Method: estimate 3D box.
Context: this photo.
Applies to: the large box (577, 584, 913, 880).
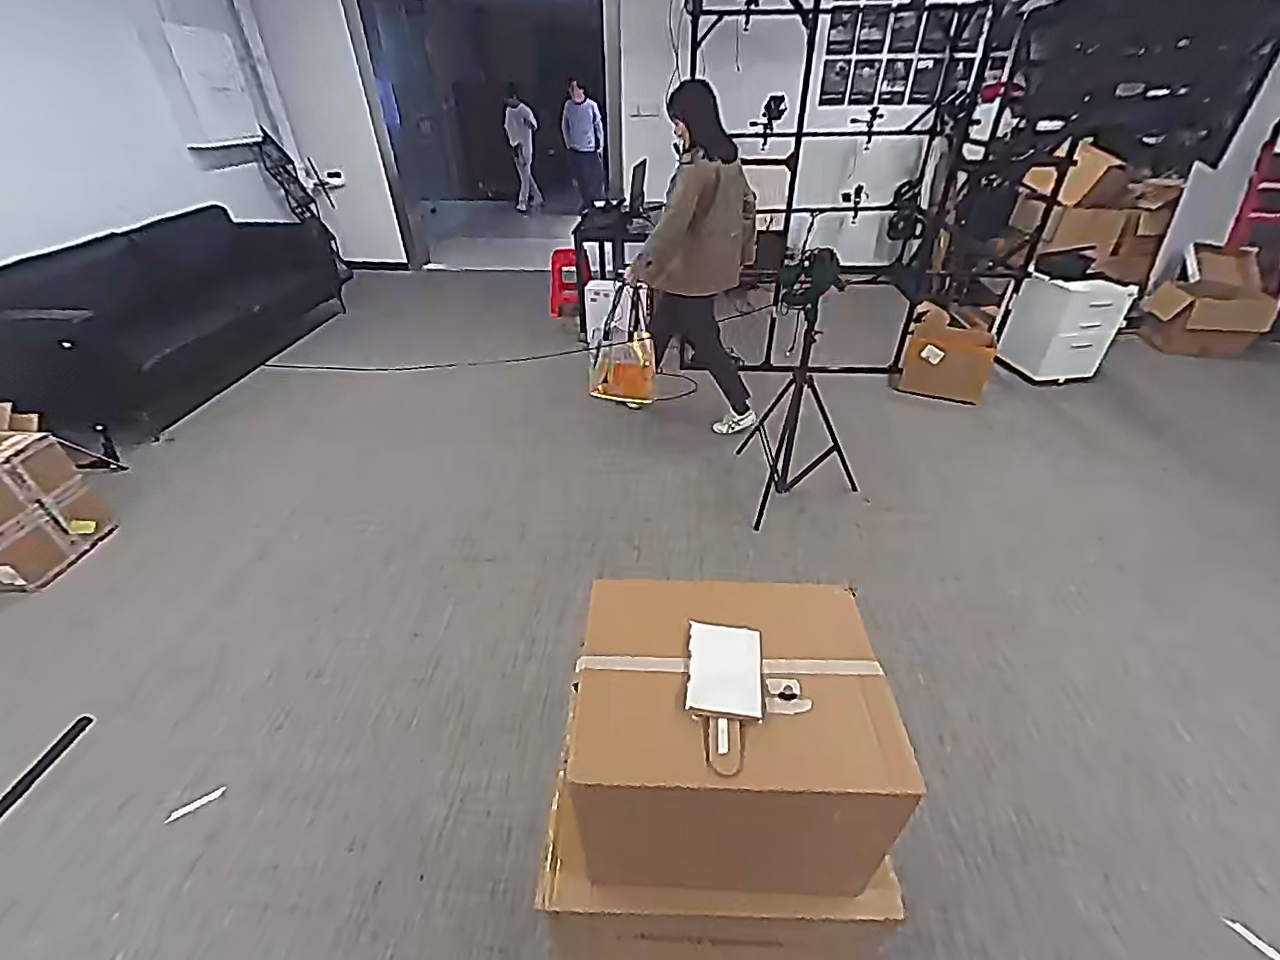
[{"bbox_3d":[0.123,0.380,0.834,0.408,0.320,0.320,1,36,1],"label":"large box"}]
